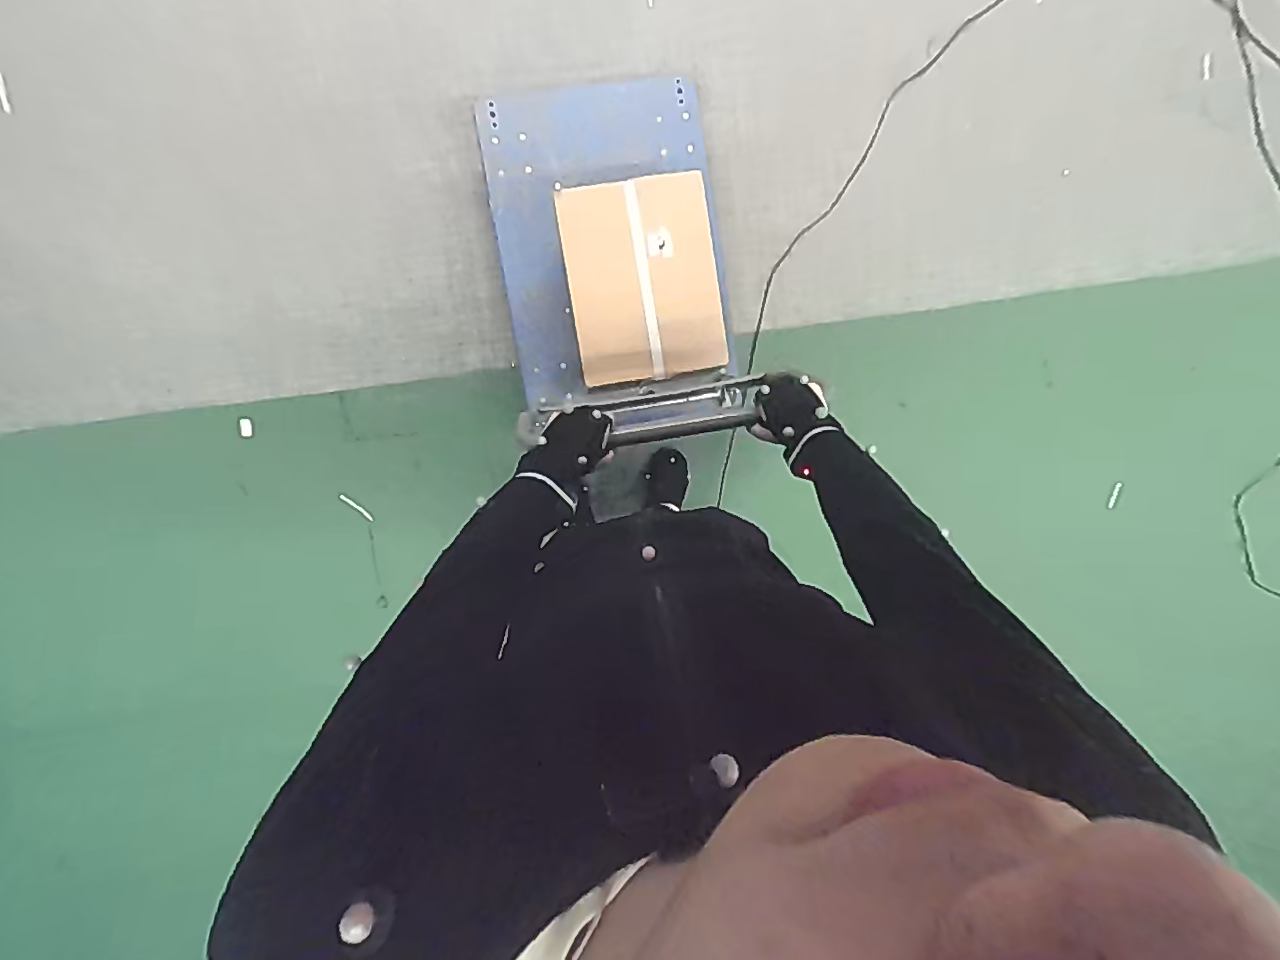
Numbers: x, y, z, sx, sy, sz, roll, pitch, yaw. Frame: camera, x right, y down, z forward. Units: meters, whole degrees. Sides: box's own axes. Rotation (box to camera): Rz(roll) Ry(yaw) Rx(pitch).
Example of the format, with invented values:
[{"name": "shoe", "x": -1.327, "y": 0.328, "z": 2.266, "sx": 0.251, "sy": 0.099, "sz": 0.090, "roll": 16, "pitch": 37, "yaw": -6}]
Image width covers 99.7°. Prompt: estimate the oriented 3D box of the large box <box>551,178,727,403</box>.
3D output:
[{"name": "large box", "x": -0.009, "y": -0.418, "z": 1.283, "sx": 0.320, "sy": 0.320, "sz": 0.408, "roll": -11, "pitch": 94, "yaw": -5}]
